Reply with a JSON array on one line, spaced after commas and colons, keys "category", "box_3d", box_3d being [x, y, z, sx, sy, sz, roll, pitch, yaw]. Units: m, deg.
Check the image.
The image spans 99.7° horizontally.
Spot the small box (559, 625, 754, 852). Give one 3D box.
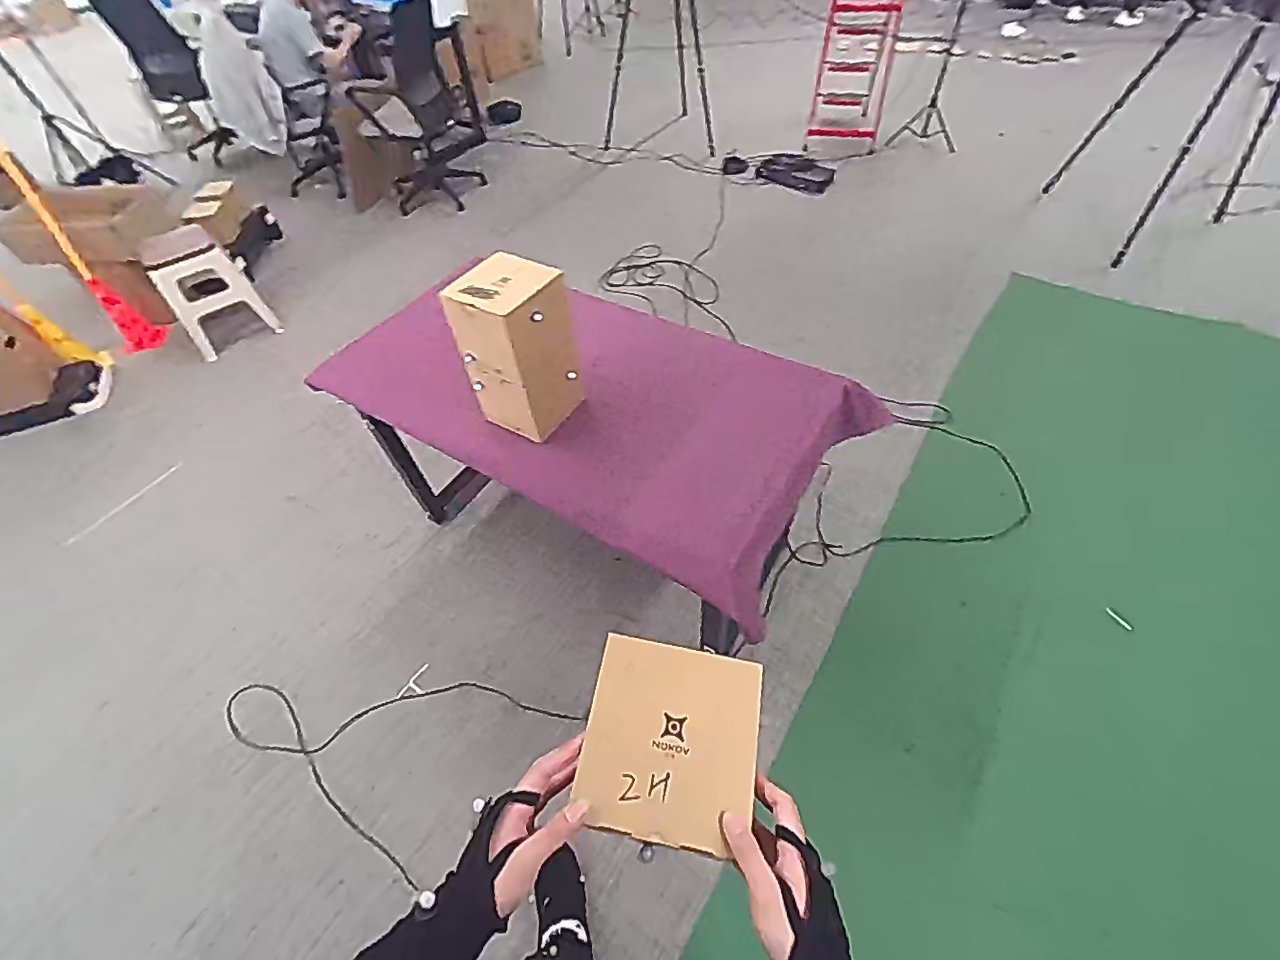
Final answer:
[{"category": "small box", "box_3d": [0.020, 0.284, 0.590, 0.168, 0.176, 0.179, 10, 57, 6]}]

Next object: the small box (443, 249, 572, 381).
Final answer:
[{"category": "small box", "box_3d": [-0.253, -0.328, 1.085, 0.168, 0.176, 0.179, 25, 57, 22]}]
